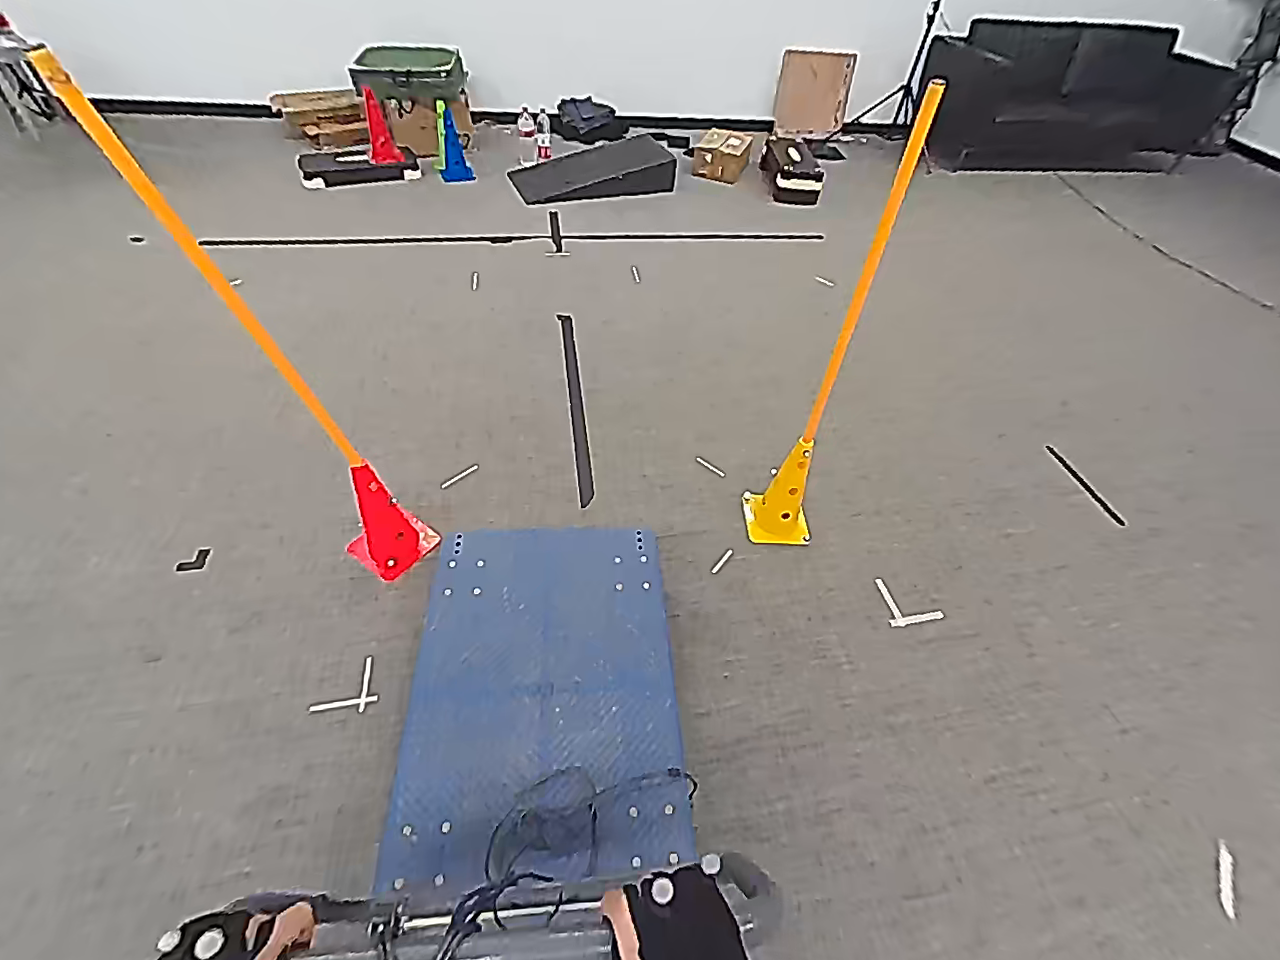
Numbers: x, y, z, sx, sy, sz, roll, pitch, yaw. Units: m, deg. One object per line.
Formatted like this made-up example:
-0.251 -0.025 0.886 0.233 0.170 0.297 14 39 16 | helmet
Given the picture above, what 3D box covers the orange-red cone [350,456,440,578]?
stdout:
-0.707 0.069 1.475 0.198 0.360 0.199 31 51 19 | orange-red cone
